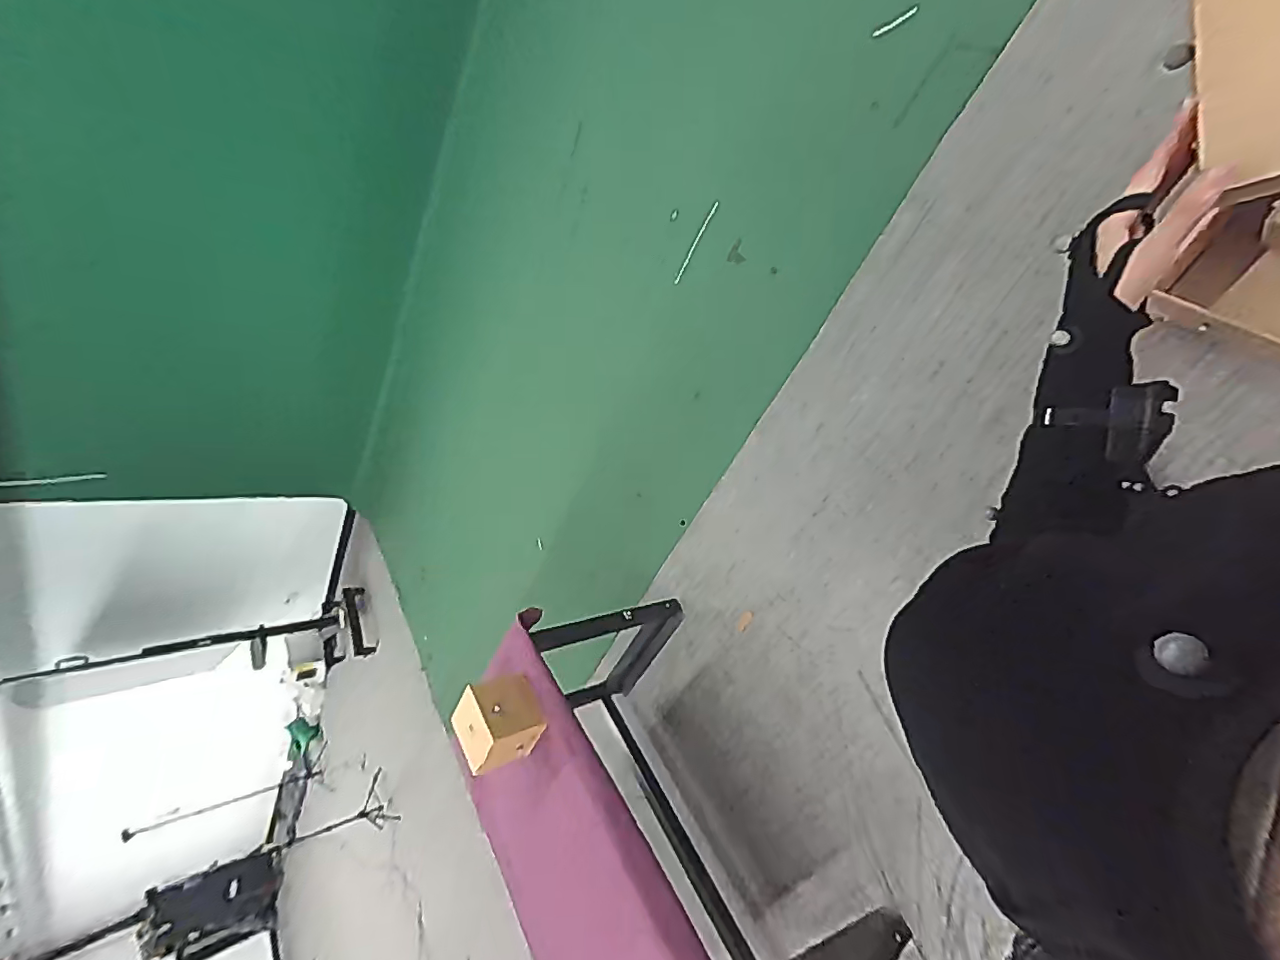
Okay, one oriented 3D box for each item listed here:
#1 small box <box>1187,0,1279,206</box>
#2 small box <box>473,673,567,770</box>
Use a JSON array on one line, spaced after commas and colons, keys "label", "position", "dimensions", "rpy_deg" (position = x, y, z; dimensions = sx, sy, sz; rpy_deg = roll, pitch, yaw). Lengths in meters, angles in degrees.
[{"label": "small box", "position": [0.463, -0.295, 0.337], "dimensions": [0.168, 0.176, 0.179], "rpy_deg": [-4, 102, 47]}, {"label": "small box", "position": [-0.335, 0.662, 1.507], "dimensions": [0.179, 0.176, 0.168], "rpy_deg": [49, 123, 34]}]
